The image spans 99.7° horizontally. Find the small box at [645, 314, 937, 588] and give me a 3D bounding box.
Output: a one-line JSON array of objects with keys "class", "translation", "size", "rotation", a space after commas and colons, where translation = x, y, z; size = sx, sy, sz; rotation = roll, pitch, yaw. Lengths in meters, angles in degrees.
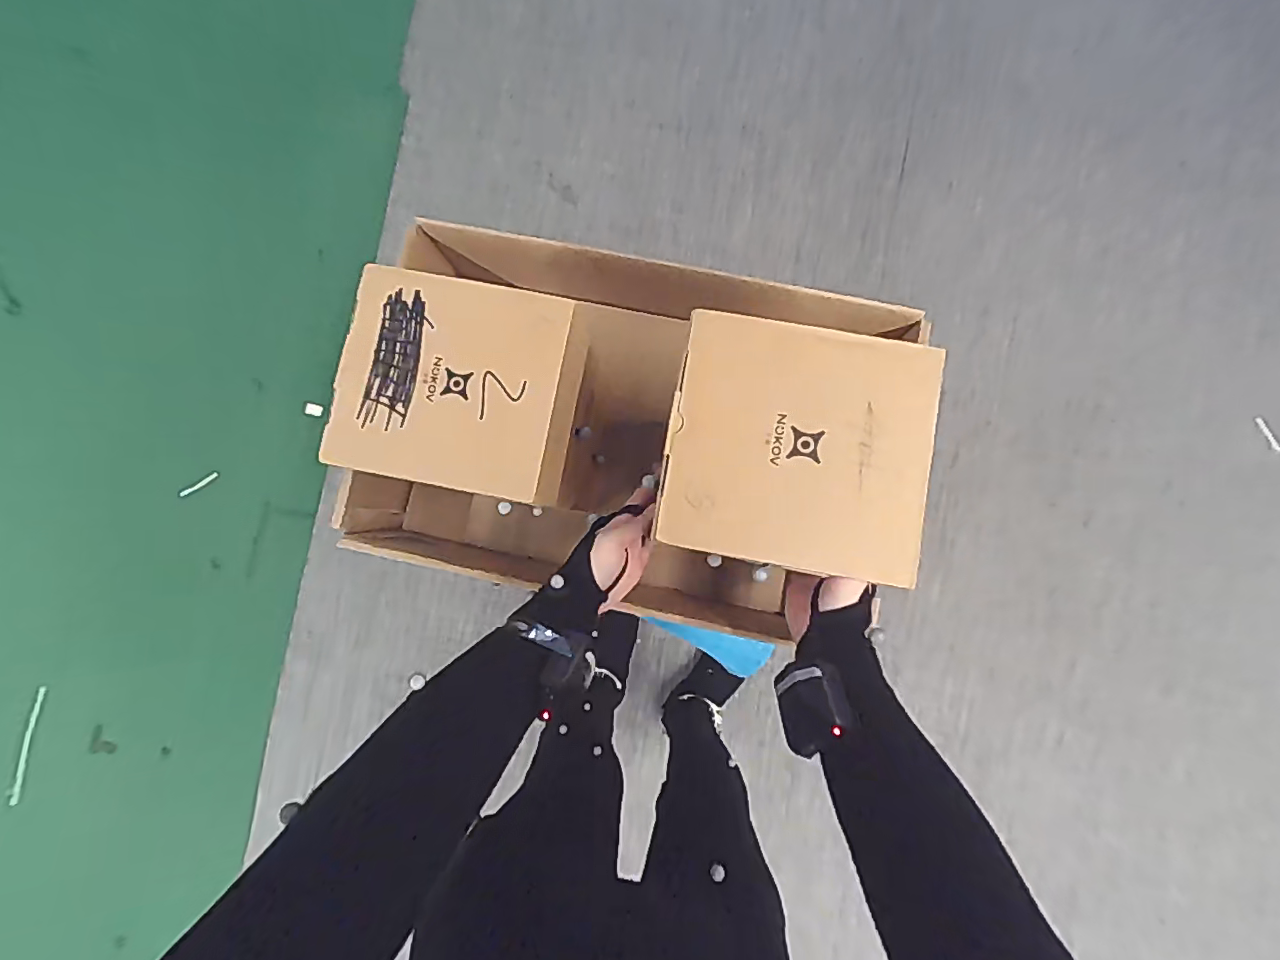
[{"class": "small box", "translation": [0.106, -0.014, 0.444], "size": [0.179, 0.176, 0.168], "rotation": [10, 85, 3]}]

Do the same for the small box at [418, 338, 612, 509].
[{"class": "small box", "translation": [-0.140, -0.058, 0.672], "size": [0.179, 0.176, 0.168], "rotation": [11, 86, 3]}]
